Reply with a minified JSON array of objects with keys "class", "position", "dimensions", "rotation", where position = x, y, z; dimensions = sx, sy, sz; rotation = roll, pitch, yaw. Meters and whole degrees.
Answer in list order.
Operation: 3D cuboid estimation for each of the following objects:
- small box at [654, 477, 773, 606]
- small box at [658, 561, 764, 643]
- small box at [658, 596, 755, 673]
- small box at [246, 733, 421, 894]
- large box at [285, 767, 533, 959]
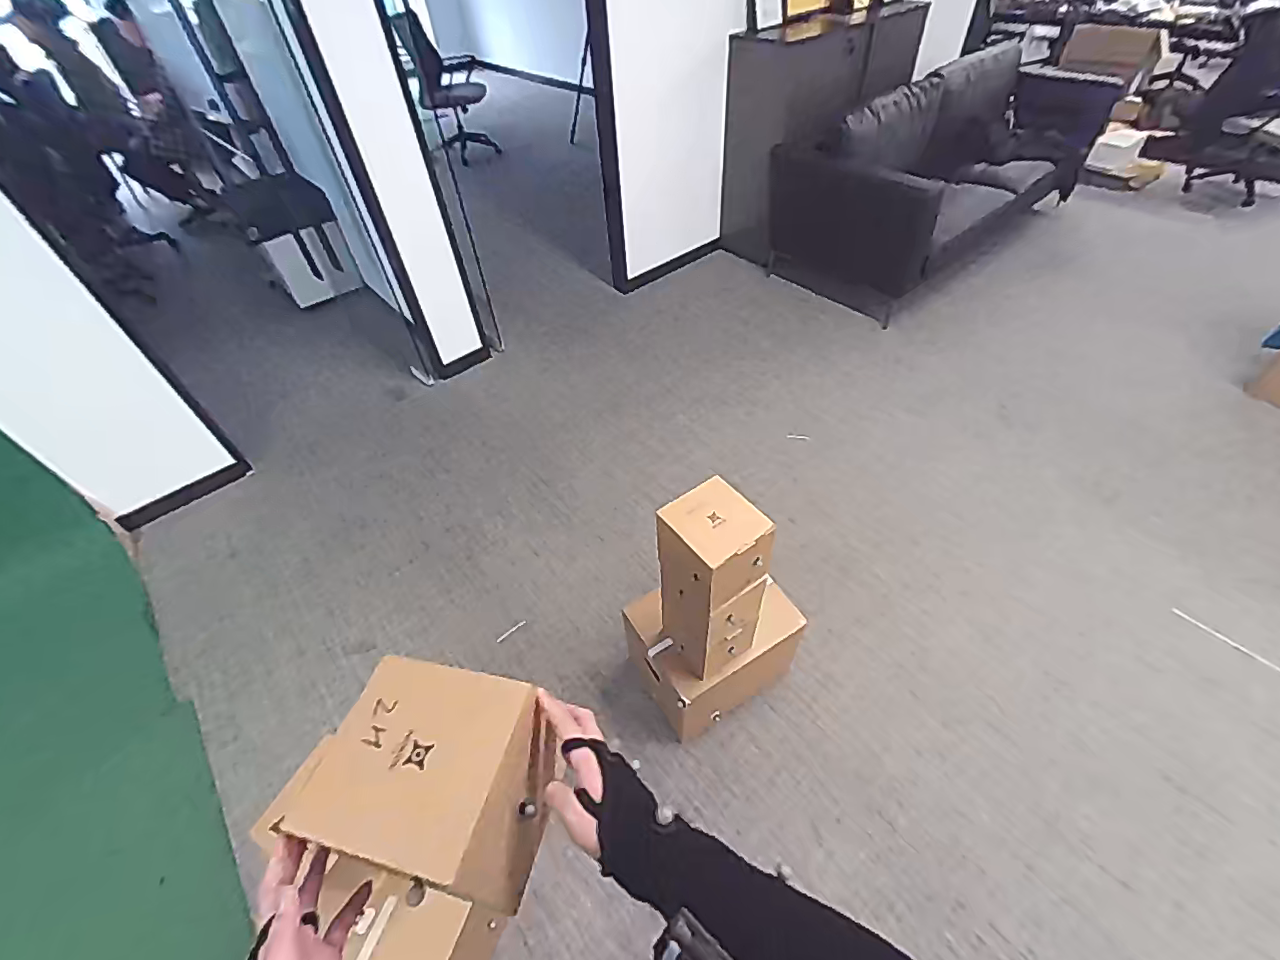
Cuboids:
[{"class":"small box","position":[0.145,0.133,1.110],"dimensions":[0.168,0.176,0.179],"rotation":[-29,52,-22]},{"class":"small box","position":[0.157,0.245,1.228],"dimensions":[0.168,0.176,0.179],"rotation":[-29,52,-21]},{"class":"small box","position":[0.161,0.355,1.348],"dimensions":[0.168,0.176,0.179],"rotation":[-28,53,-21]},{"class":"small box","position":[-0.522,0.590,0.952],"dimensions":[0.168,0.176,0.179],"rotation":[17,50,18]},{"class":"large box","position":[-0.479,0.926,1.199],"dimensions":[0.320,0.320,0.408],"rotation":[11,50,14]}]
